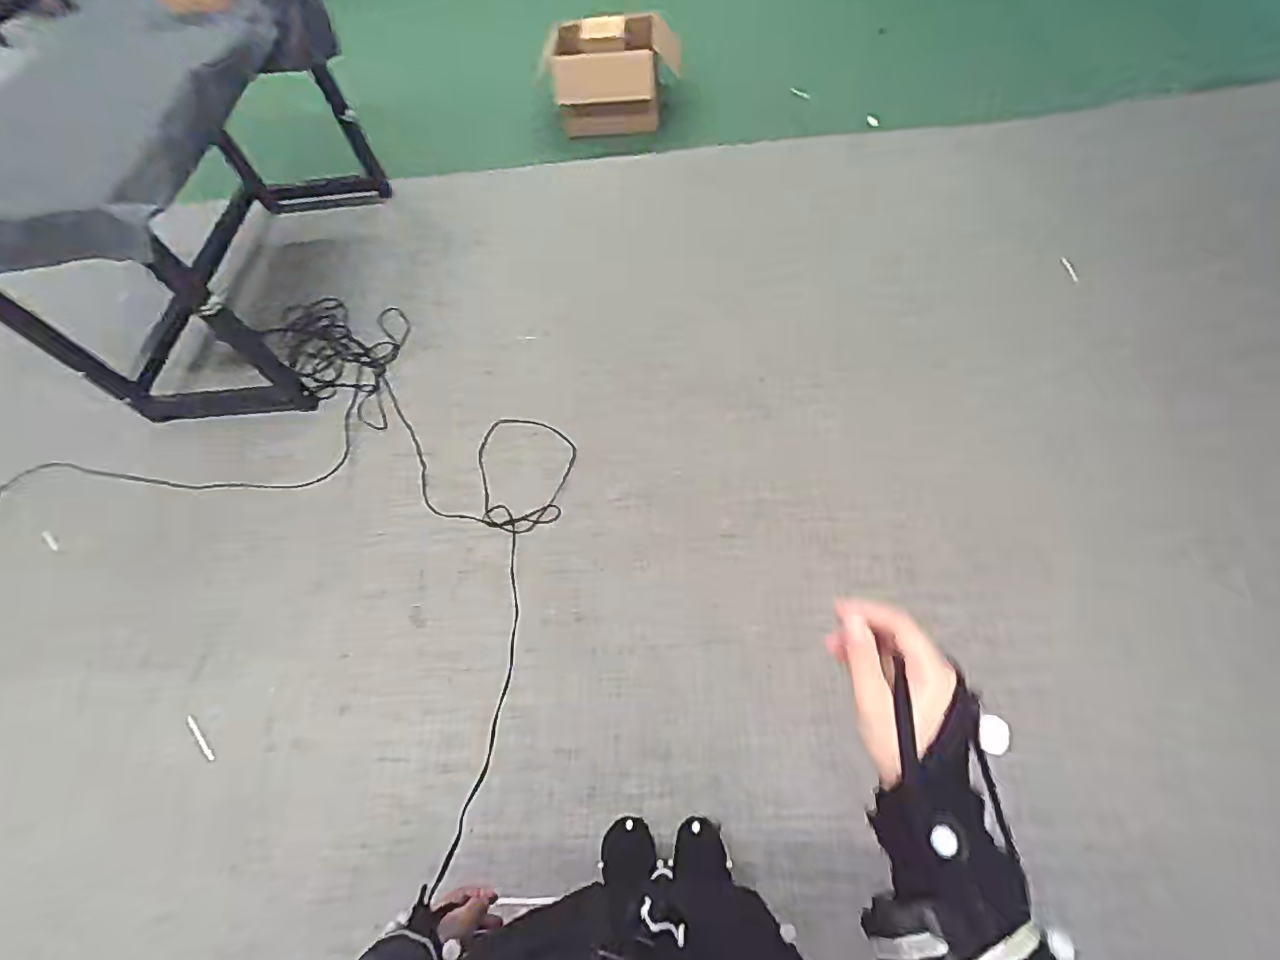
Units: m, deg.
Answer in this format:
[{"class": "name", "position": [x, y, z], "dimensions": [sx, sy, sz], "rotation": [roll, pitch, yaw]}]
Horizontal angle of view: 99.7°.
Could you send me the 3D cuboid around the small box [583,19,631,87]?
[{"class": "small box", "position": [-0.130, -1.729, 2.191], "dimensions": [0.168, 0.176, 0.179], "rotation": [1, 60, 6]}]
